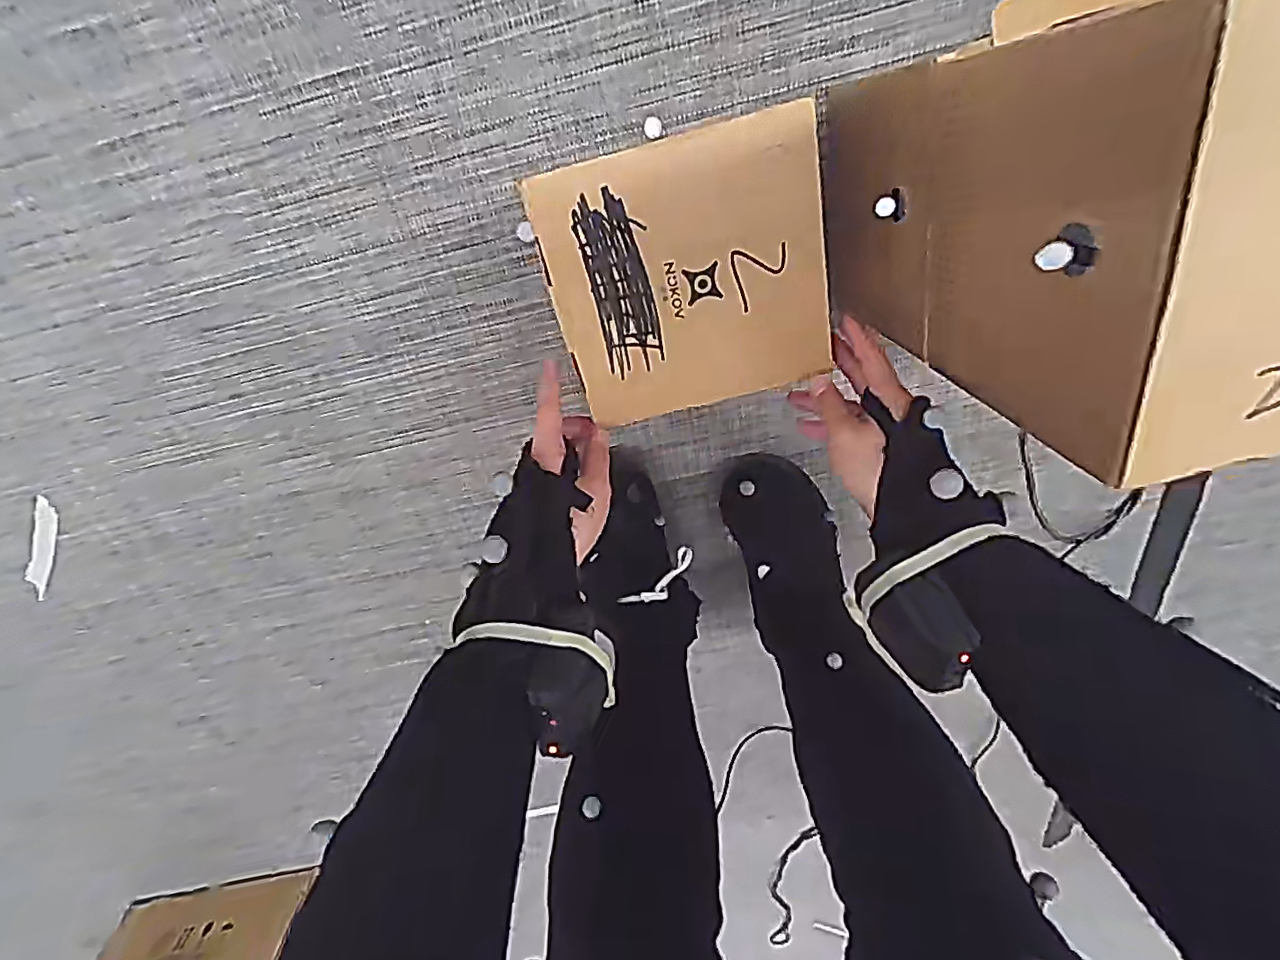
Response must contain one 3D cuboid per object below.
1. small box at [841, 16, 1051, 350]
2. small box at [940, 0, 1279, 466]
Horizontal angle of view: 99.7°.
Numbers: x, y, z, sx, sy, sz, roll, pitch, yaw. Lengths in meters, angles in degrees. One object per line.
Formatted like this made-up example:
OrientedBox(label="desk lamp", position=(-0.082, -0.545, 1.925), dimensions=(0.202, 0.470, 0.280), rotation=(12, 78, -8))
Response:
OrientedBox(label="small box", position=(0.258, -0.218, 0.398), dimensions=(0.168, 0.176, 0.179), rotation=(-12, 121, 5))
OrientedBox(label="small box", position=(0.265, -0.135, 0.255), dimensions=(0.168, 0.176, 0.179), rotation=(-13, 120, 6))
